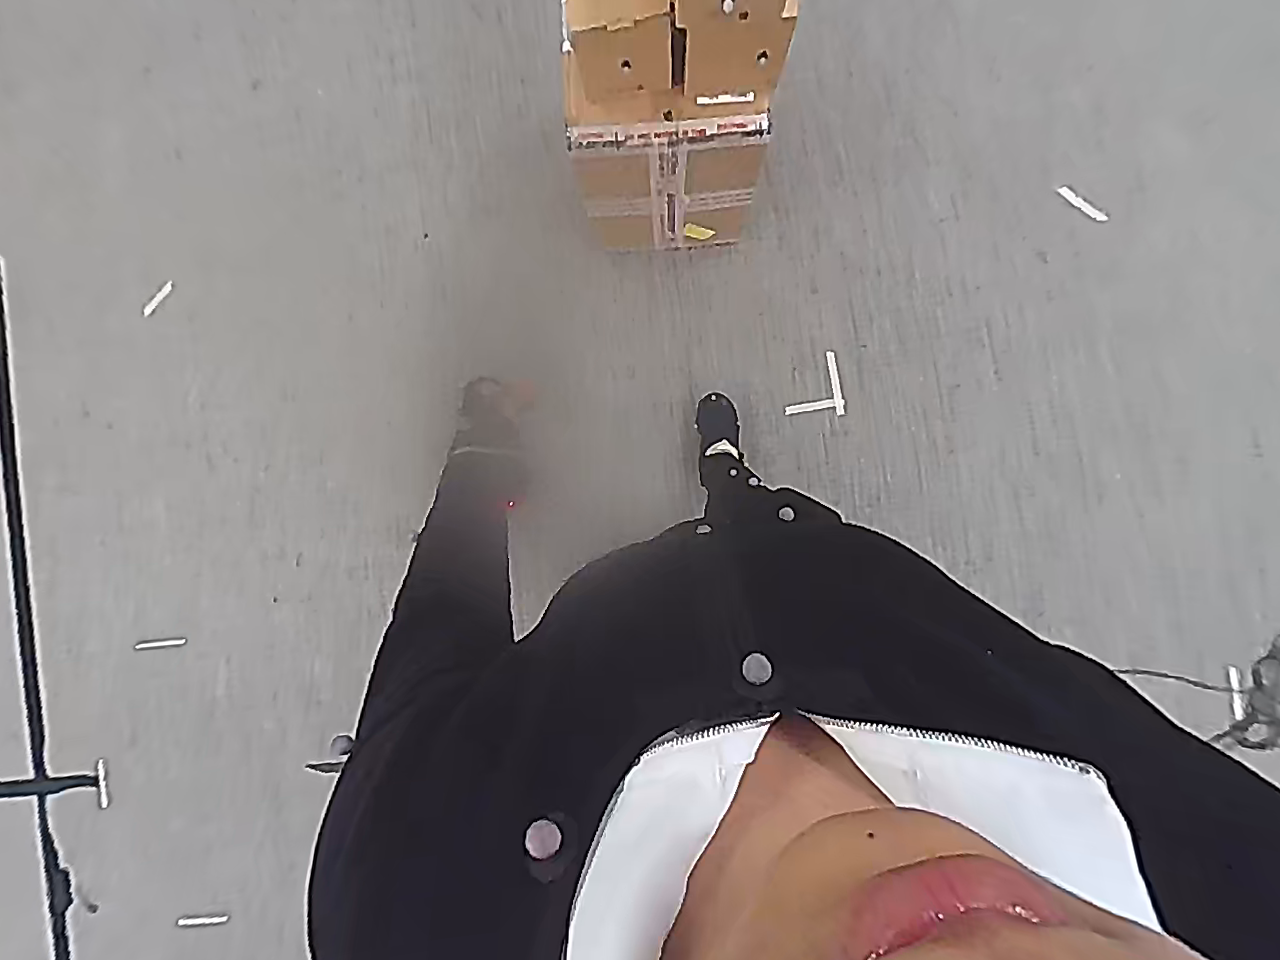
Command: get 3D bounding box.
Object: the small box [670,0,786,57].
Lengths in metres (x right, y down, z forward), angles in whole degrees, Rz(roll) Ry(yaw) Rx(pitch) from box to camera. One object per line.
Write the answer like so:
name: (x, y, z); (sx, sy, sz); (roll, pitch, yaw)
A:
small box: (0.128, -0.766, 0.785); (0.168, 0.176, 0.179); (0, 91, 1)
